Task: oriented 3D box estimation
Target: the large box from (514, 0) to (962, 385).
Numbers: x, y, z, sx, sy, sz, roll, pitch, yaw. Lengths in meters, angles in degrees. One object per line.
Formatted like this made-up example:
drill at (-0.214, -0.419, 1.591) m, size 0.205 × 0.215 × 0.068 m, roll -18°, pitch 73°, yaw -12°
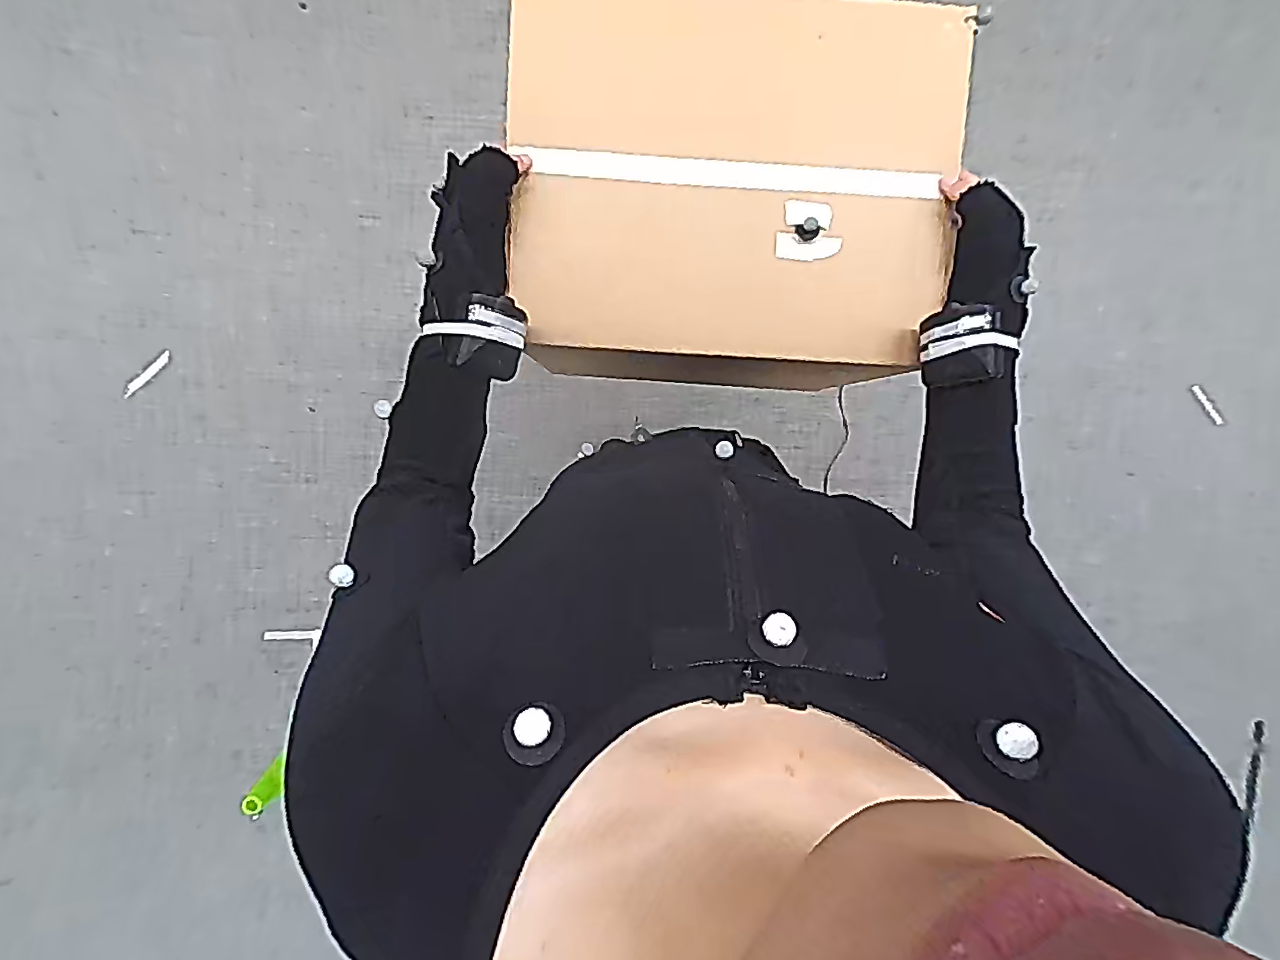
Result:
large box at (0.079, -0.286, 0.636) m, size 0.408 × 0.320 × 0.320 m, roll 3°, pitch 96°, yaw -3°
